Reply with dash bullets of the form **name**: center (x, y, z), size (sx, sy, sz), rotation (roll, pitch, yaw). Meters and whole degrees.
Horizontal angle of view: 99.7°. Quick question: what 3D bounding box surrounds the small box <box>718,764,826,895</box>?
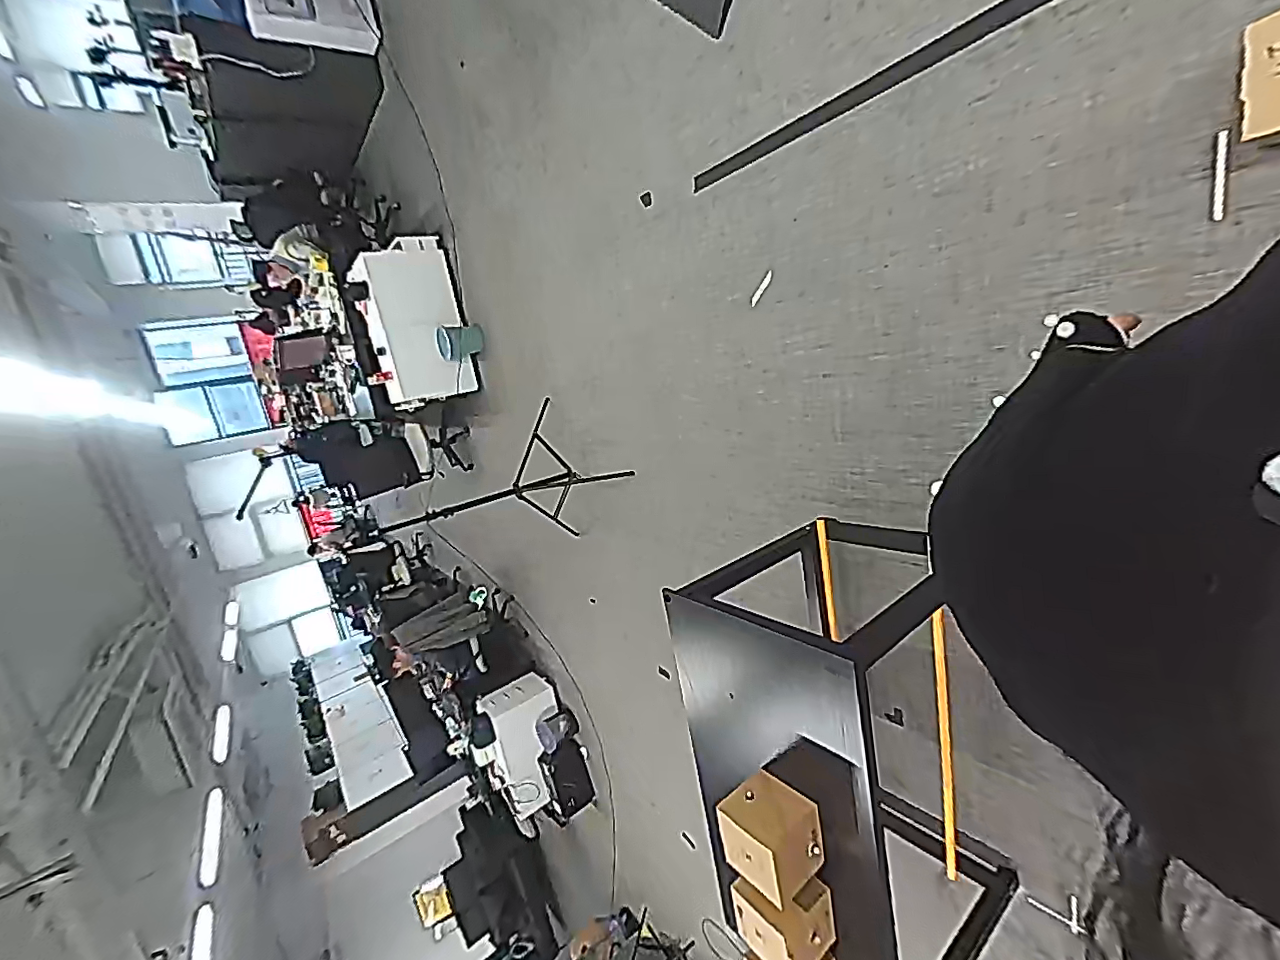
- **small box**: center (0.317, 0.823, 1.300), size (0.179, 0.176, 0.168), rotation (5, 112, 54)

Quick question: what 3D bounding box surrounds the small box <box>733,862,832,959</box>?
- **small box**: center (0.362, 1.052, 1.351), size (0.179, 0.176, 0.168), rotation (7, 112, 54)

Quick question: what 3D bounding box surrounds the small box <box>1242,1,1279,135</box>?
- **small box**: center (1.047, -0.645, 0.809), size (0.179, 0.176, 0.168), rotation (6, 111, 54)

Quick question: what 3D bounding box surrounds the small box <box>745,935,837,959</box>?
- **small box**: center (0.400, 1.273, 1.410), size (0.168, 0.176, 0.179), rotation (7, 112, 53)
